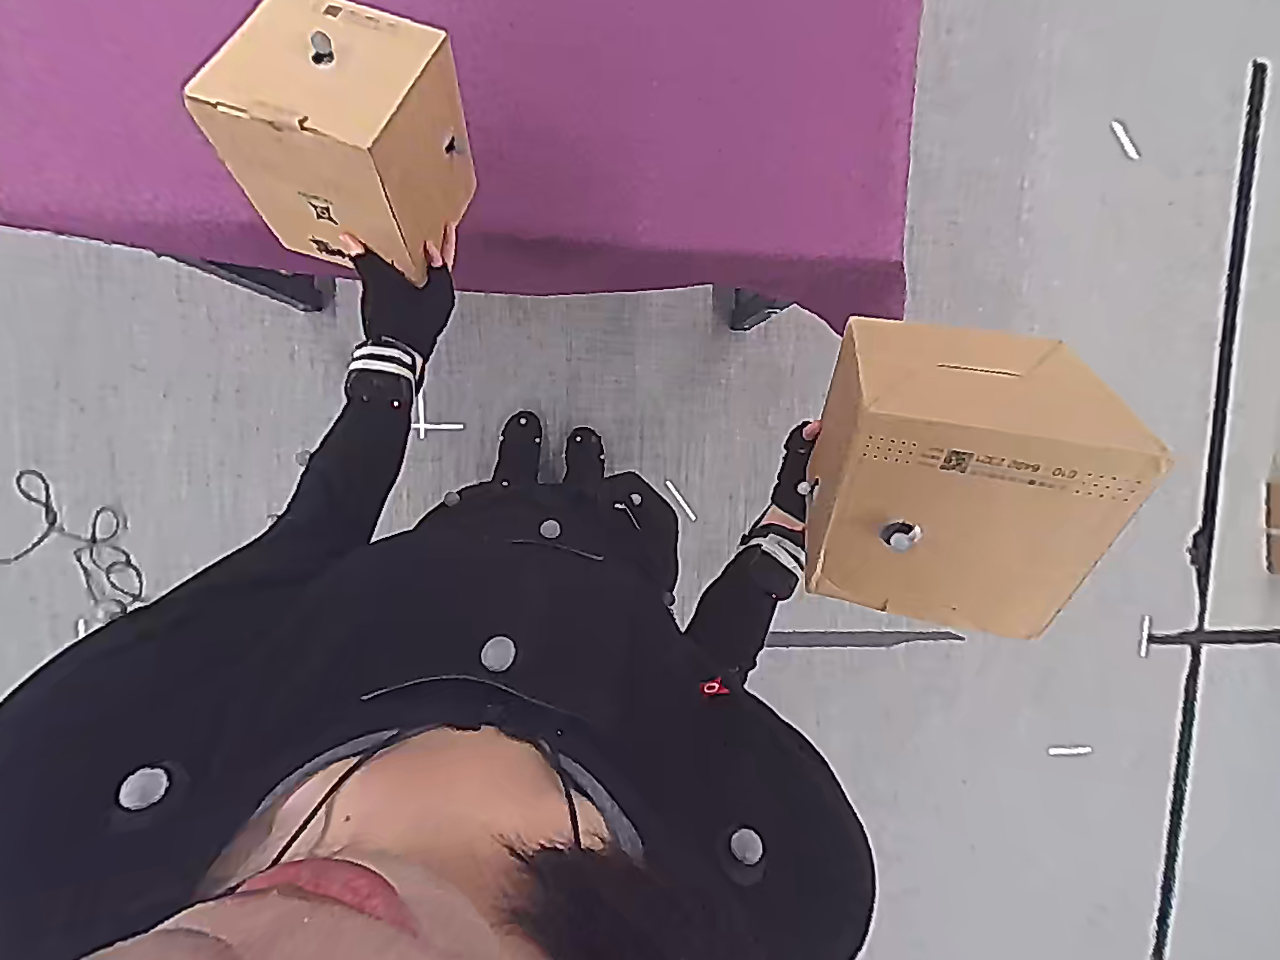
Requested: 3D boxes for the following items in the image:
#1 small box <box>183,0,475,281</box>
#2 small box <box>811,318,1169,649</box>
[{"bbox_3d":[-0.285,-0.345,0.547,0.168,0.179,0.176,17,67,0],"label":"small box"},{"bbox_3d":[0.232,-0.009,0.410,0.168,0.179,0.176,12,128,10],"label":"small box"}]
